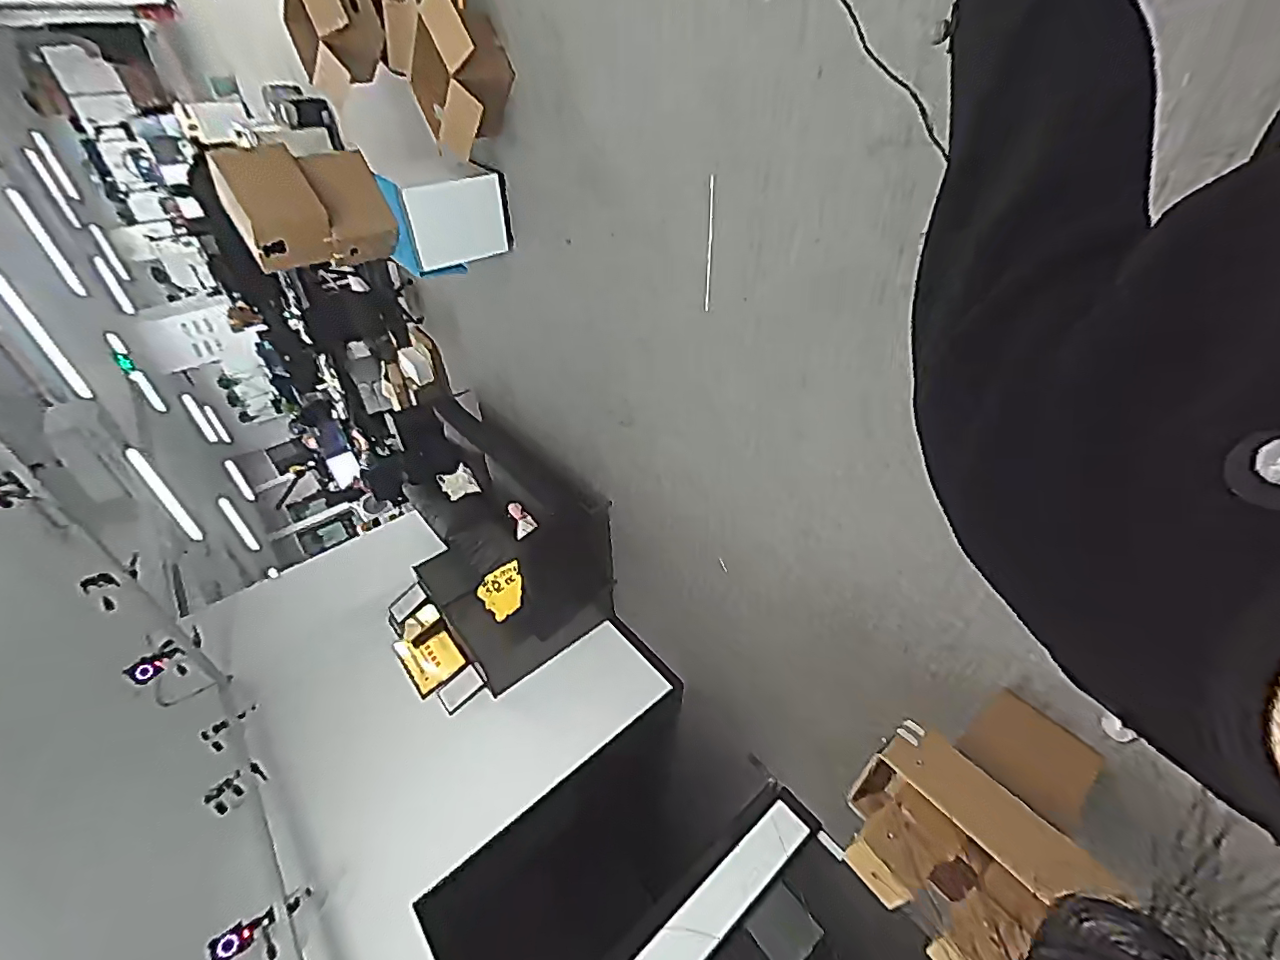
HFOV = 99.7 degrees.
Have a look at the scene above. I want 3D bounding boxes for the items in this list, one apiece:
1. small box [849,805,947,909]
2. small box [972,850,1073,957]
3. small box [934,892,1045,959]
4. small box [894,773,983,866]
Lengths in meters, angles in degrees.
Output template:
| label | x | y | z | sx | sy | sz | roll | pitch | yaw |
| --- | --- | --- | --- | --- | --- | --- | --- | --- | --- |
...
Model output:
| label | x | y | z | sx | sy | sz | roll | pitch | yaw |
| --- | --- | --- | --- | --- | --- | --- | --- | --- | --- |
| small box | 0.746 | 1.081 | 1.559 | 0.168 | 0.176 | 0.179 | 43 | 146 | 32 |
| small box | 1.045 | 1.176 | 1.491 | 0.168 | 0.176 | 0.179 | 35 | 142 | 39 |
| small box | 0.912 | 1.228 | 1.409 | 0.168 | 0.176 | 0.179 | 37 | 142 | 40 |
| small box | 0.885 | 1.022 | 1.624 | 0.168 | 0.176 | 0.179 | 45 | 147 | 28 |
